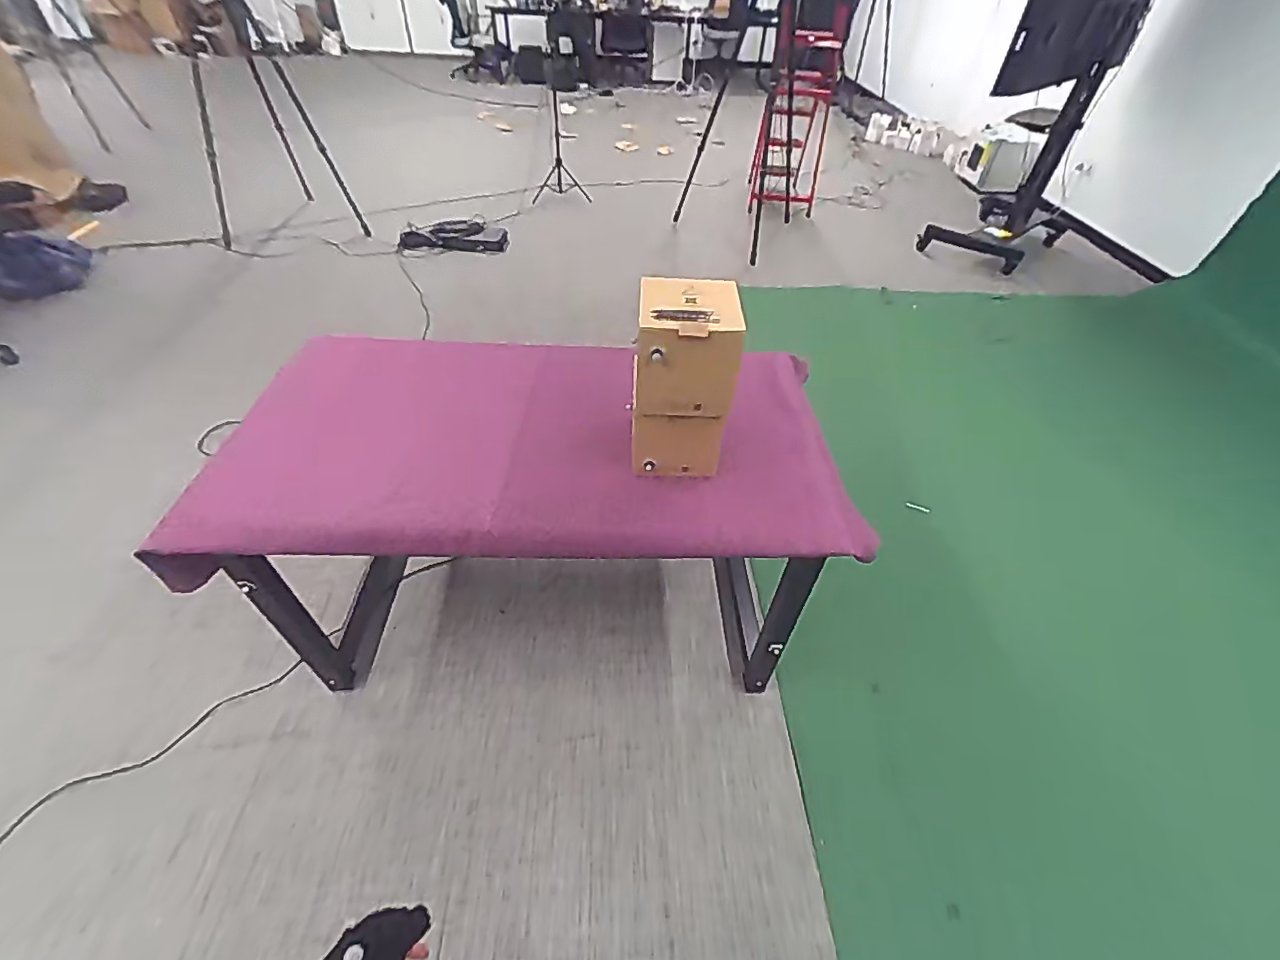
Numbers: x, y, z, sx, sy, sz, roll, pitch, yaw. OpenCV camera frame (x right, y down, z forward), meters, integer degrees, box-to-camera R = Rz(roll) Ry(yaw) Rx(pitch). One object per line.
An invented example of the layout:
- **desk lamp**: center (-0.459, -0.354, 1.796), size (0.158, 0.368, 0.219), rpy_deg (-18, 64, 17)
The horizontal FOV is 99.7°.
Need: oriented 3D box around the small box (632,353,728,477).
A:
- **small box**: center (0.074, -0.124, 1.053), size (0.168, 0.176, 0.179), rpy_deg (5, 46, -1)
